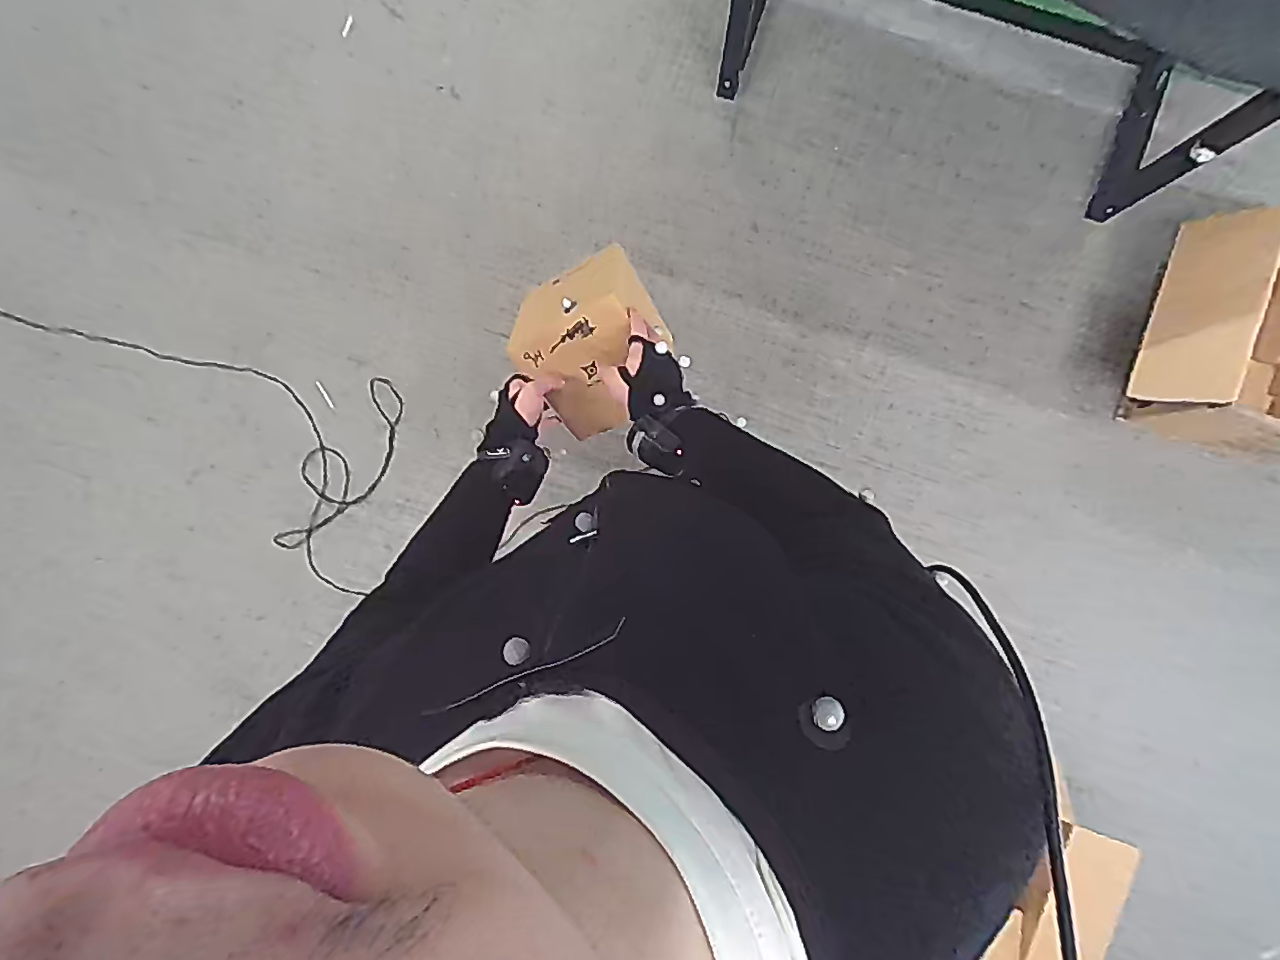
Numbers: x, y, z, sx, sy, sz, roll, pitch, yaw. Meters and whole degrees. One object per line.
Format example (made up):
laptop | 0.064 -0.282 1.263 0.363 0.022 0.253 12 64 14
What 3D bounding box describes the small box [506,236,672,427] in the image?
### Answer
small box | -0.062 -0.215 0.786 0.168 0.176 0.179 -22 129 21
